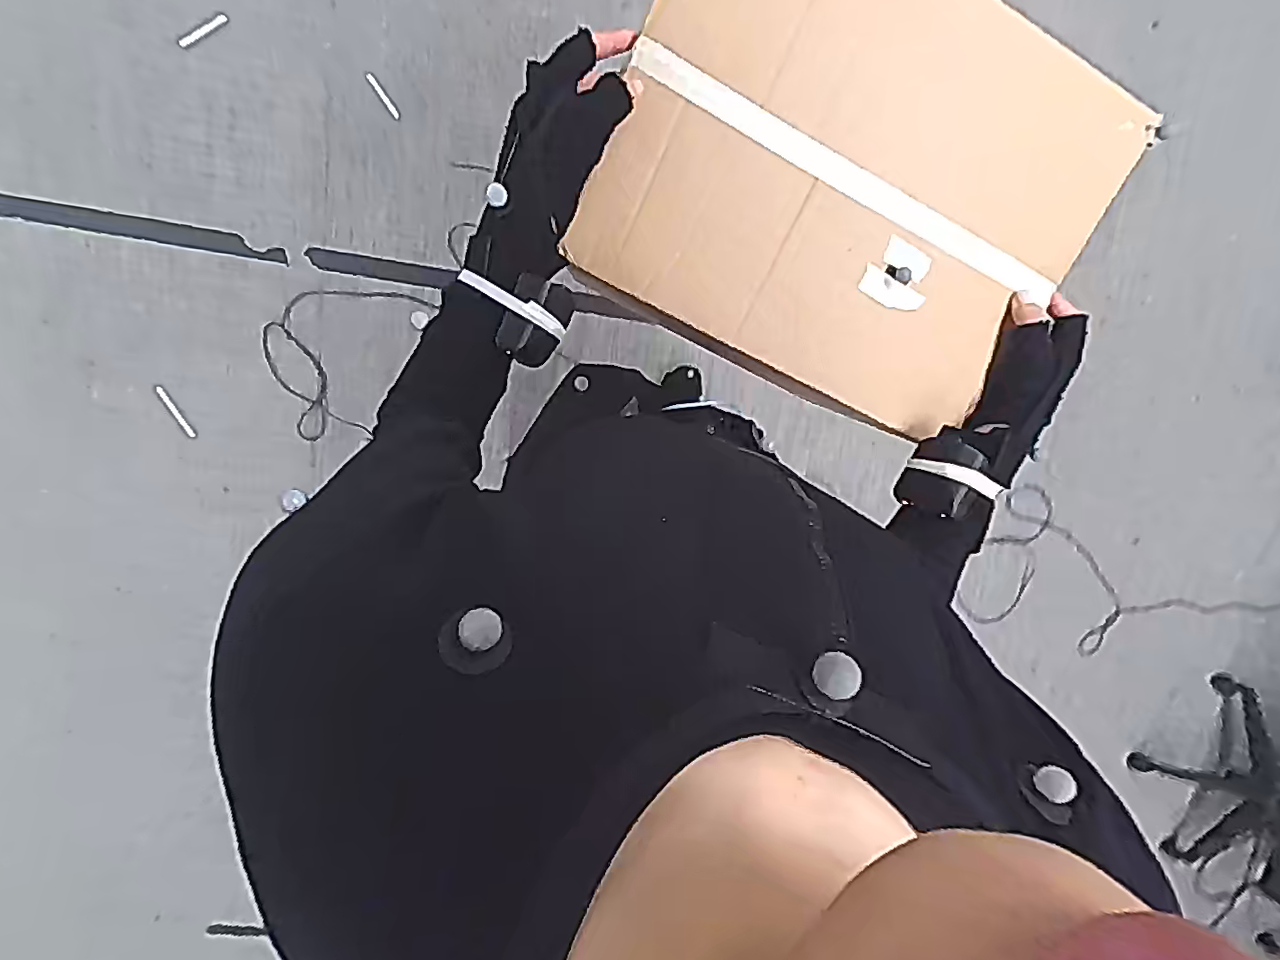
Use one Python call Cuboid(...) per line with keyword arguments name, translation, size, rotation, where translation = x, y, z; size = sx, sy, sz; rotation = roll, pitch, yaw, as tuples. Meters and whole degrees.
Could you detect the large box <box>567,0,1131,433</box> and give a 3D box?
Cuboid(name="large box", translation=(0.163, -0.295, 0.597), size=(0.408, 0.320, 0.320), rotation=(24, 105, -12))
